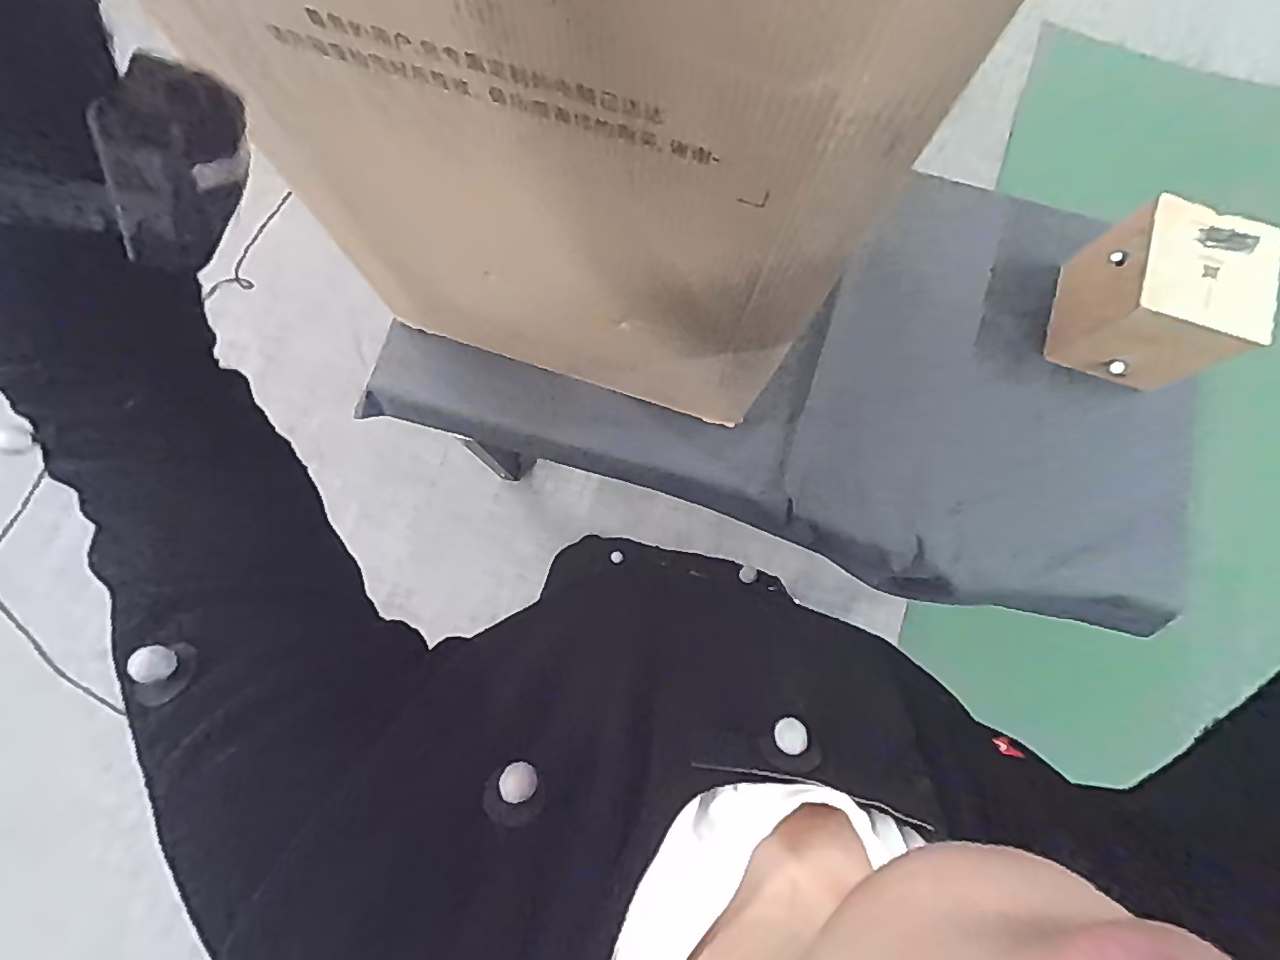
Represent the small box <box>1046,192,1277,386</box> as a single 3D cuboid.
[{"bbox_3d":[0.731,-0.262,0.777,0.168,0.176,0.179,19,80,2],"label":"small box"}]
